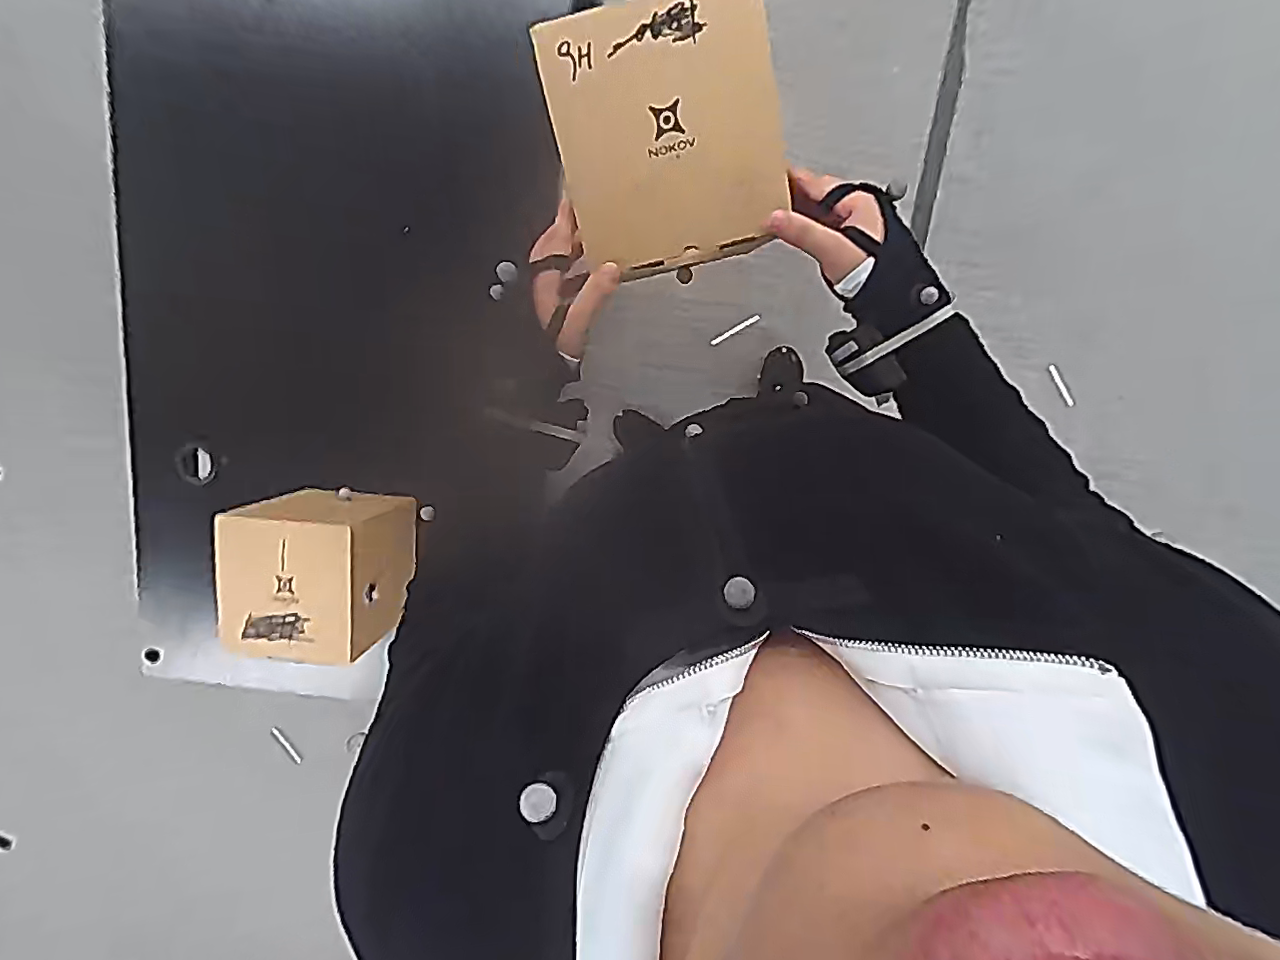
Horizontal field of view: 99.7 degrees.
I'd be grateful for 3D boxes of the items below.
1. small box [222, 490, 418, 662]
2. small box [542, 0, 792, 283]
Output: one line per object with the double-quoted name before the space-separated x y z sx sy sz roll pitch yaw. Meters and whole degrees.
"small box" -0.416 0.118 0.730 0.168 0.176 0.179 4 99 2
"small box" 0.027 -0.285 0.486 0.168 0.176 0.179 -12 109 4
